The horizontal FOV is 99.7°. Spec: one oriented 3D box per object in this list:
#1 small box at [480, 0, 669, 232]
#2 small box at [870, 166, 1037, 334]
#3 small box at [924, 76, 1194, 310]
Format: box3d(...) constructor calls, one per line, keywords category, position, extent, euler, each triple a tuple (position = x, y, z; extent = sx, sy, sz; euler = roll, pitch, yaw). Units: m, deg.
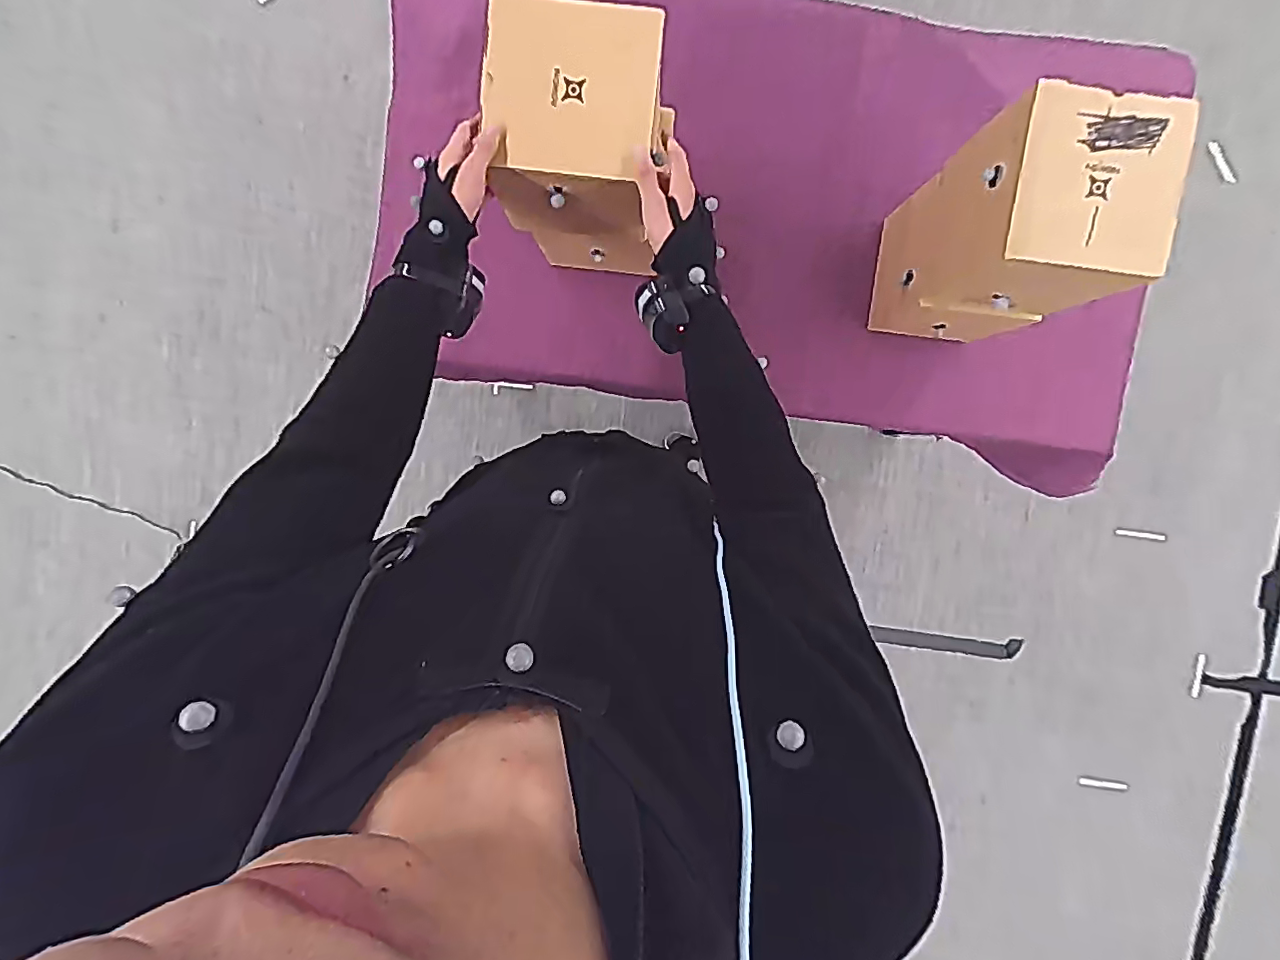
box3d(category="small box", position=(-0.066, -0.400, 0.616), extent=(0.179, 0.176, 0.168), euler=(7, 96, 1))
box3d(category="small box", position=(0.456, -0.318, 0.787), extent=(0.168, 0.176, 0.179), euler=(7, 95, -1))
box3d(category="small box", position=(0.459, -0.311, 0.623), extent=(0.168, 0.176, 0.179), euler=(8, 96, 0))
